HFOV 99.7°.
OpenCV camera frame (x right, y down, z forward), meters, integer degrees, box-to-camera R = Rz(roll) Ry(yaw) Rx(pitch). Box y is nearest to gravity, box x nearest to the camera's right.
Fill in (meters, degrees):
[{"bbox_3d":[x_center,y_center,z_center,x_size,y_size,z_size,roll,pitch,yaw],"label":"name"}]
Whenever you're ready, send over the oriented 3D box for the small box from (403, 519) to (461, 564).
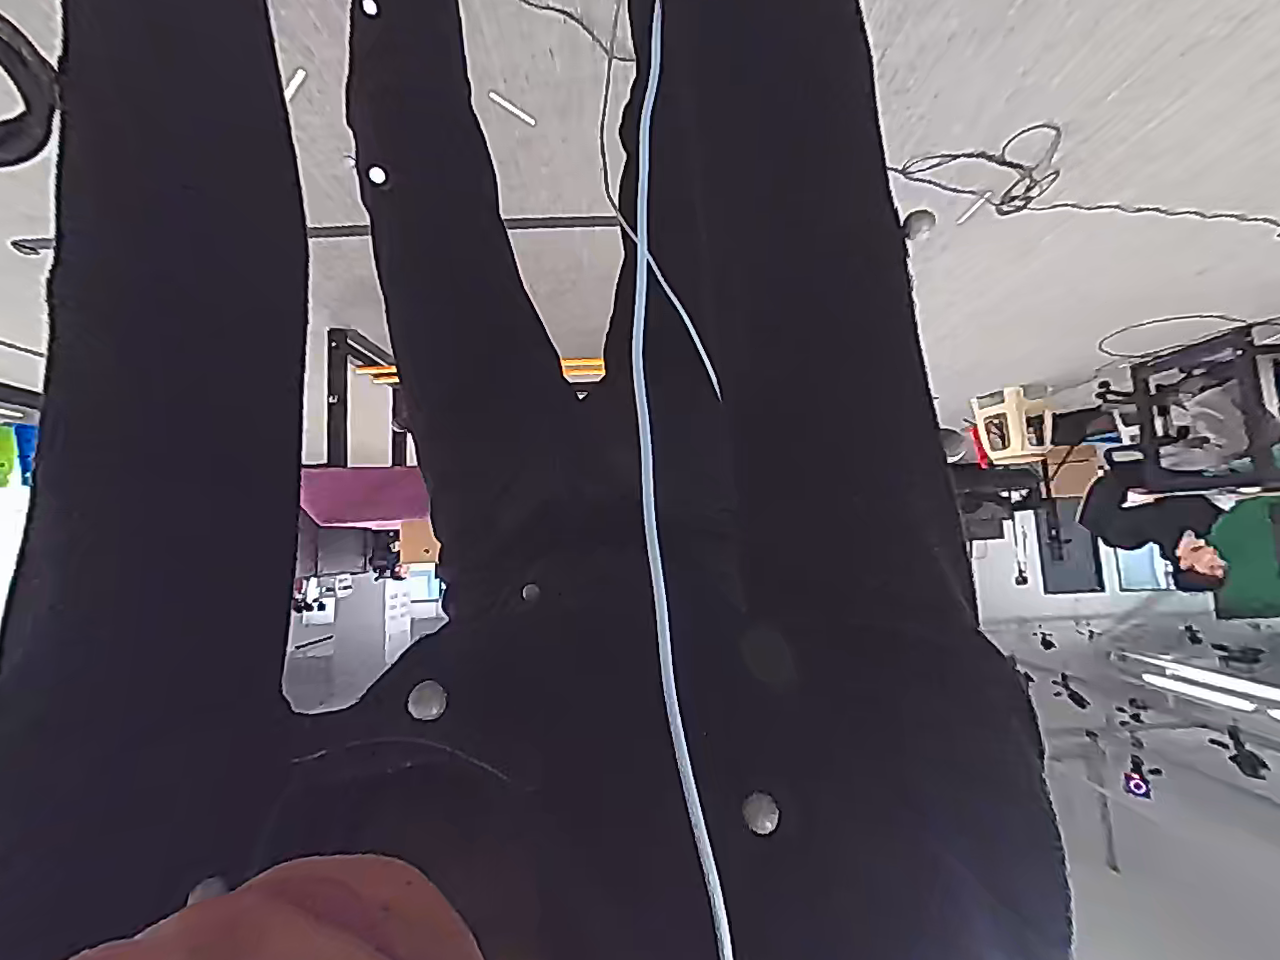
[{"bbox_3d":[-0.829,0.241,2.155,0.179,0.176,0.168,-2,174,0],"label":"small box"}]
